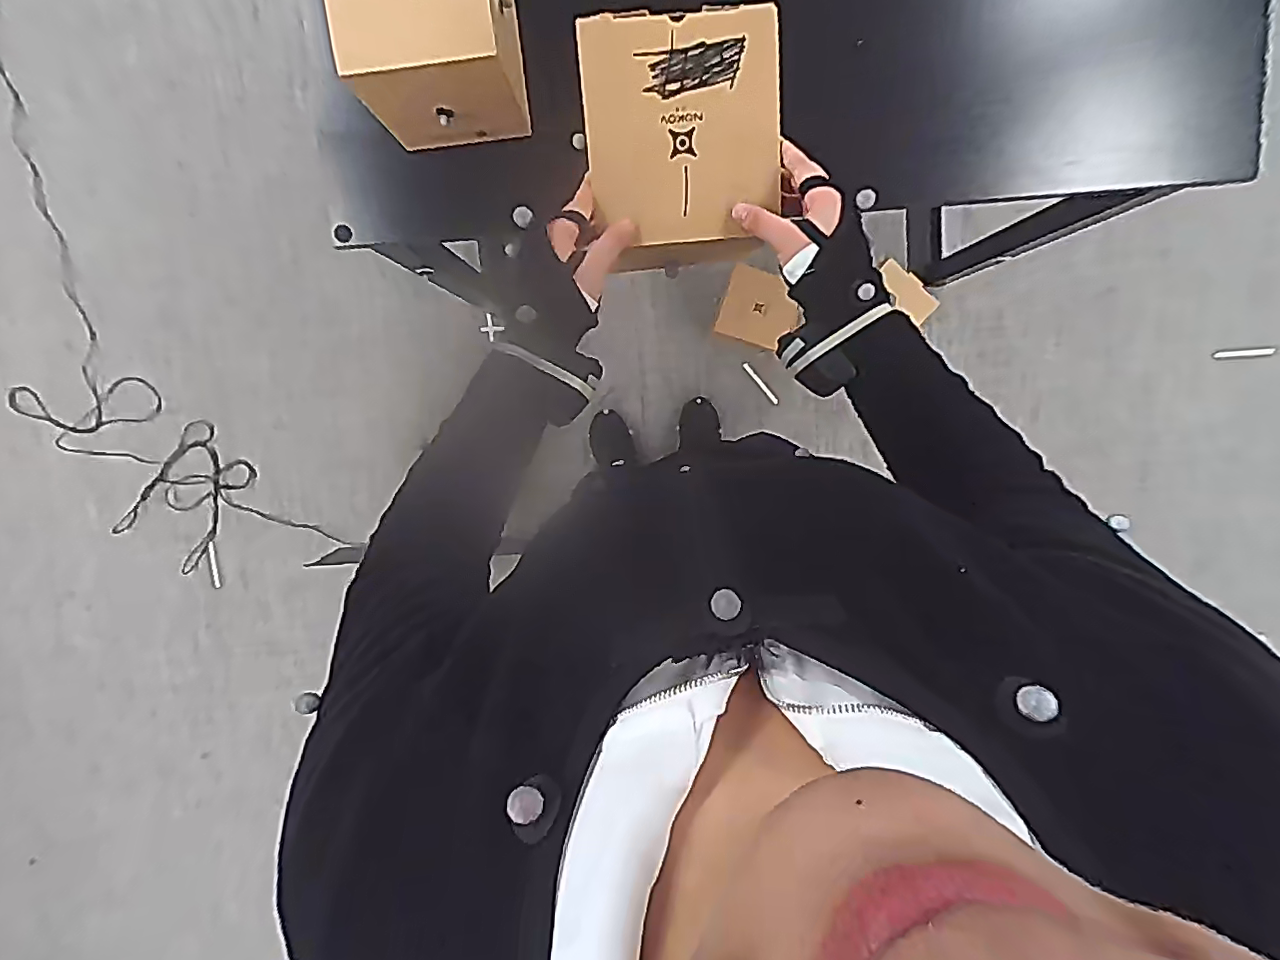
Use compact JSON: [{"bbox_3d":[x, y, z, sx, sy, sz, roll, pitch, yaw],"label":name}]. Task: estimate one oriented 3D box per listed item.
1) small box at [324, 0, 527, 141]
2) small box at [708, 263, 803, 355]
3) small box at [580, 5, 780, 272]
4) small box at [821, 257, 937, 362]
[{"bbox_3d":[-0.232,-0.512,0.611,0.168,0.176,0.179,-6,98,1],"label":"small box"},{"bbox_3d":[0.281,-0.419,1.357,0.179,0.176,0.168,17,98,-1],"label":"small box"},{"bbox_3d":[0.034,-0.313,0.532,0.168,0.176,0.179,-5,105,0],"label":"small box"},{"bbox_3d":[0.584,-0.417,1.350,0.168,0.176,0.179,39,97,-4],"label":"small box"}]
